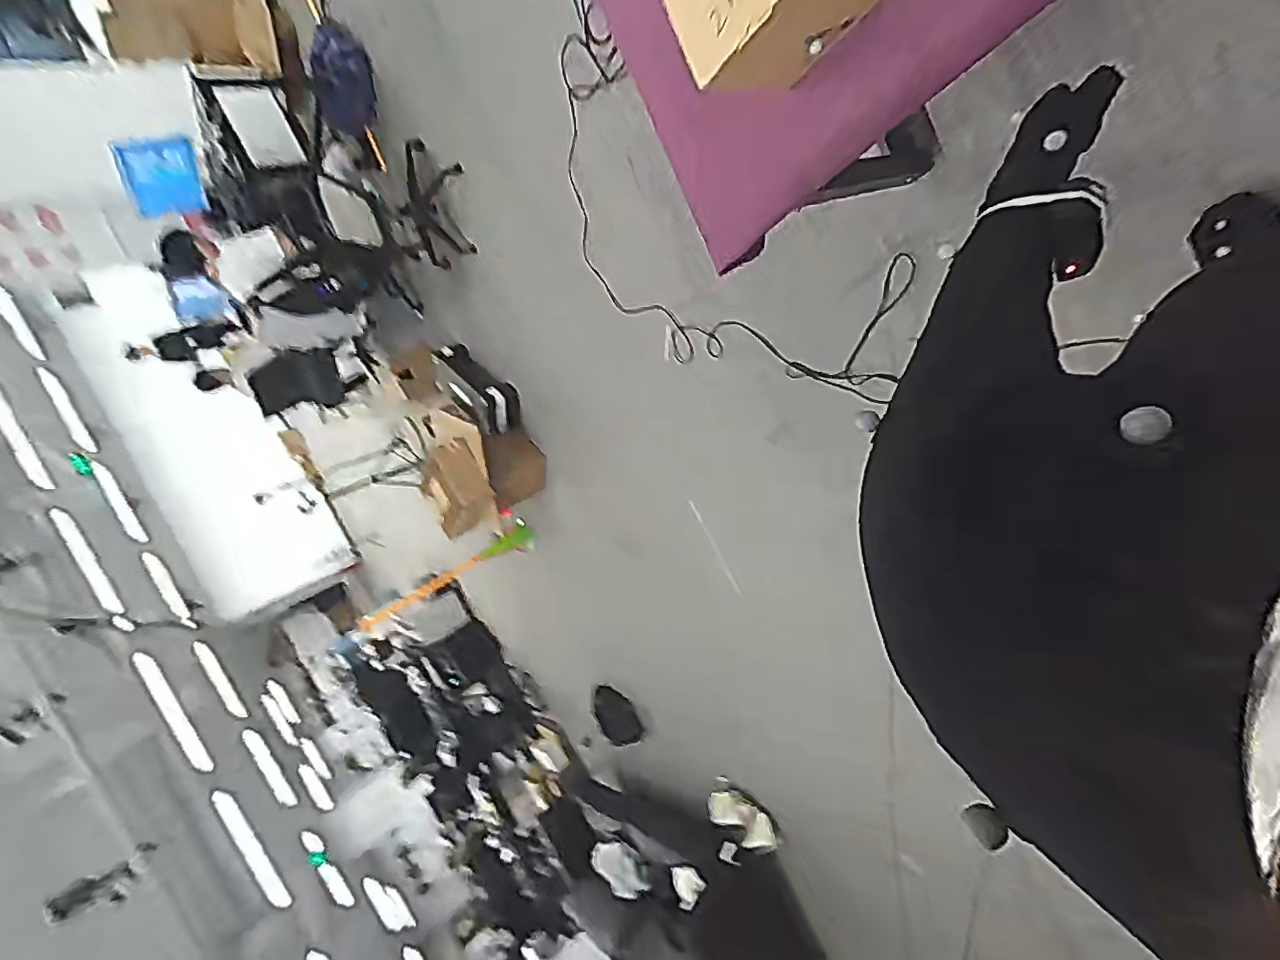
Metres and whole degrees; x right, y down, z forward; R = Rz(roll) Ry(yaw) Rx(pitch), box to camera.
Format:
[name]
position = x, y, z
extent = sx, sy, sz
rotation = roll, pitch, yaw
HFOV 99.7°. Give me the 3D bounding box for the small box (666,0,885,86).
[small box]
position = 0.140, -0.563, 0.582
extent = 0.168, 0.176, 0.179
rotation = -14, 102, 54
